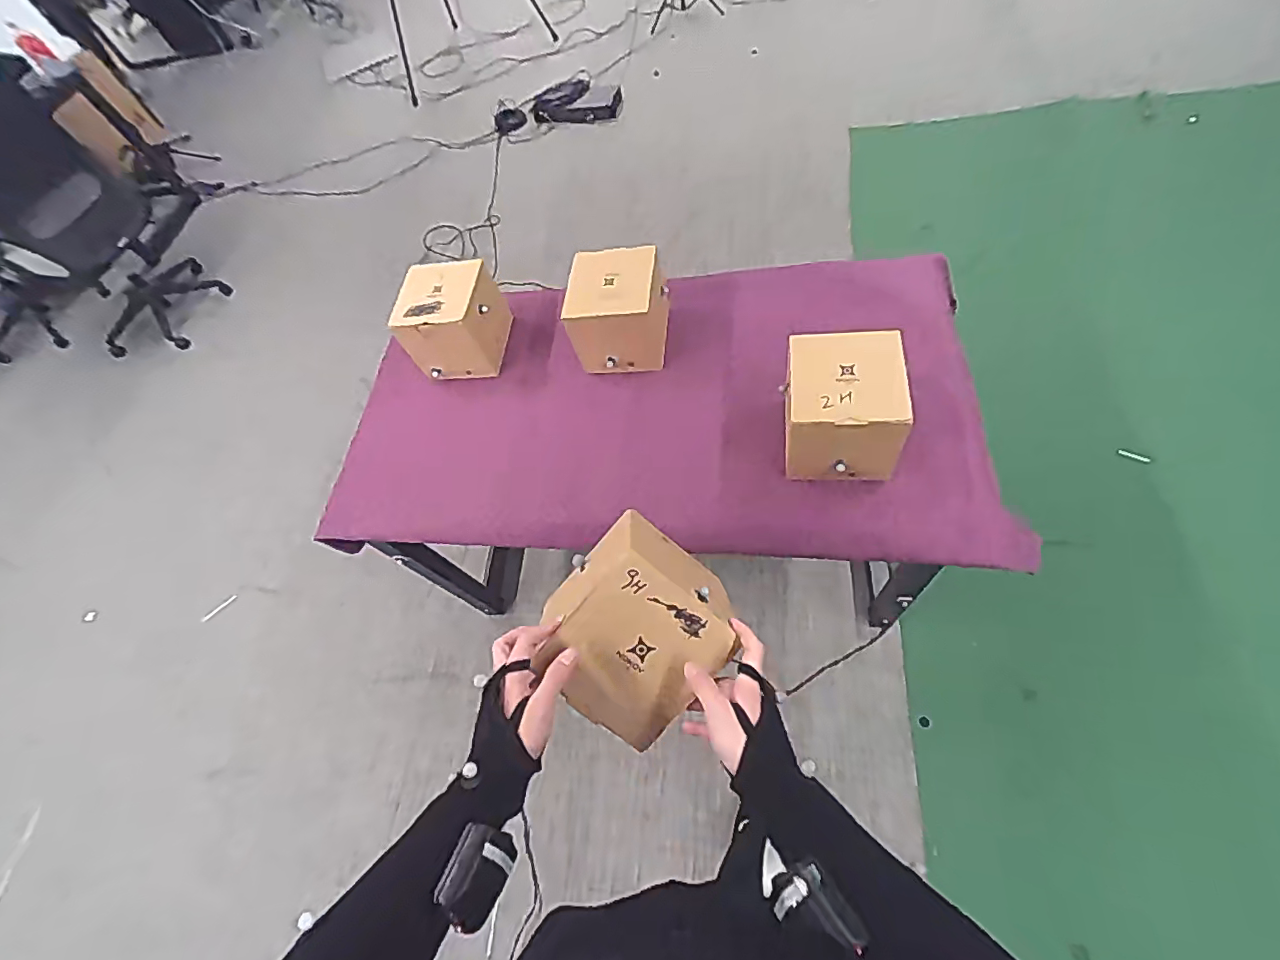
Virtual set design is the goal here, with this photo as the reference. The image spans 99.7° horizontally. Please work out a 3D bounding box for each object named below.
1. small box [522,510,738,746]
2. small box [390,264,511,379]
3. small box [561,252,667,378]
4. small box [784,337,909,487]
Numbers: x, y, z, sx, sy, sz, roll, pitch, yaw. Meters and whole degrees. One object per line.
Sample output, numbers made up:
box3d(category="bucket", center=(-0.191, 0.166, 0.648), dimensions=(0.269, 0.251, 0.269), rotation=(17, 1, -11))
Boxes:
box3d(category="small box", center=(-0.009, 0.164, 0.650), dimensions=(0.168, 0.176, 0.179), rotation=(42, 98, -8))
box3d(category="small box", center=(-0.392, -0.329, 1.155), dimensions=(0.168, 0.176, 0.179), rotation=(0, 61, 11))
box3d(category="small box", center=(-0.041, -0.324, 1.081), dimensions=(0.168, 0.176, 0.179), rotation=(0, 62, 13))
box3d(category="small box", center=(0.321, -0.108, 0.876), dimensions=(0.168, 0.176, 0.179), rotation=(1, 60, 14))
